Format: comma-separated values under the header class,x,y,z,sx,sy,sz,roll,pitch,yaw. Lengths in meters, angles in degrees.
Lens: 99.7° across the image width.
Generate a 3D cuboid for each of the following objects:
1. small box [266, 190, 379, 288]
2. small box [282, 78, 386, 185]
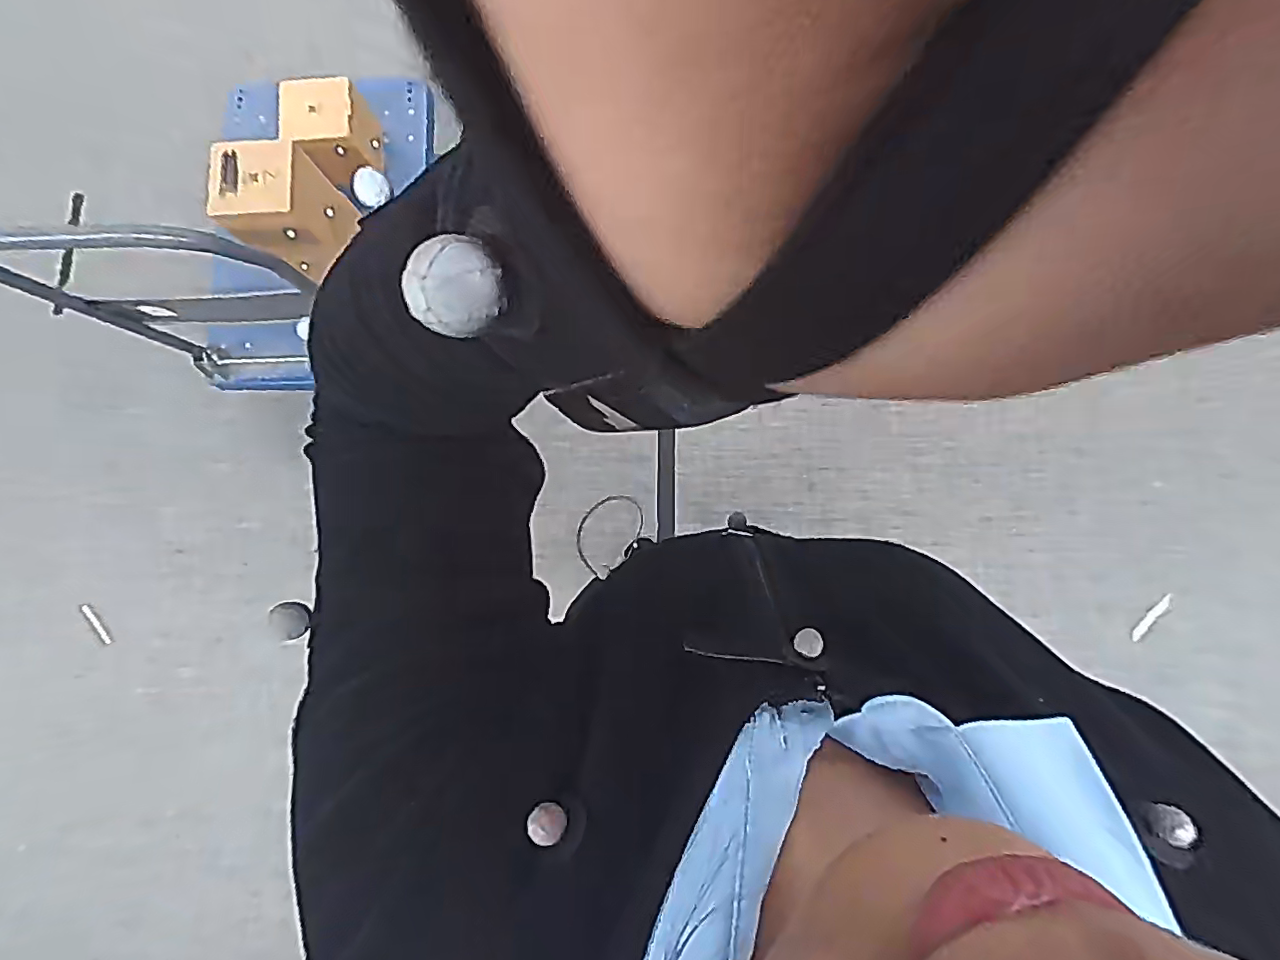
class,x,y,z,sx,sy,sz,roll,pitch,yaw
small box,-0.791,-0.599,1.359,0.179,0.176,0.168,2,84,1
small box,-0.784,-0.891,1.397,0.179,0.176,0.168,-4,83,1
